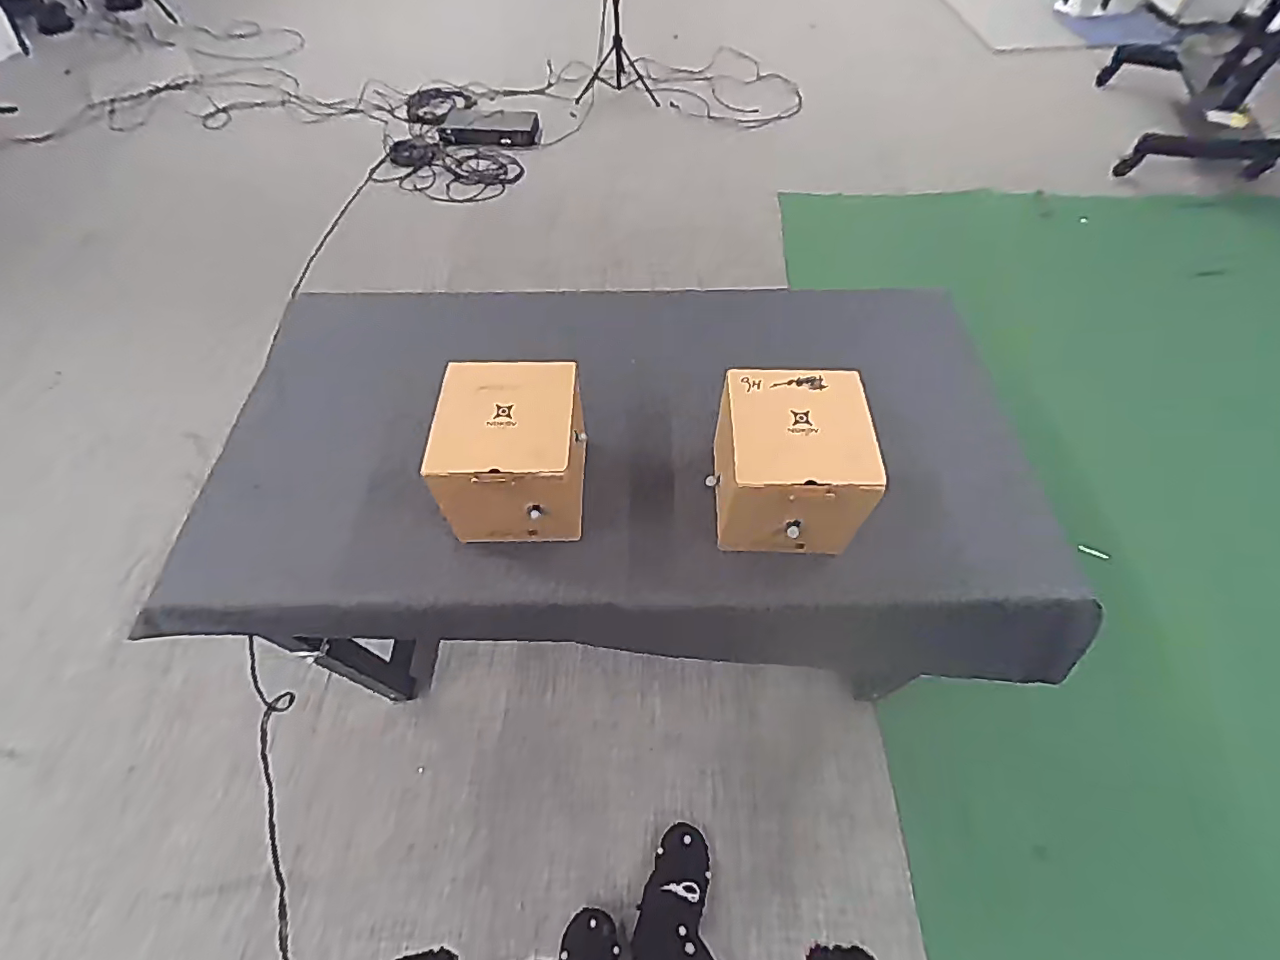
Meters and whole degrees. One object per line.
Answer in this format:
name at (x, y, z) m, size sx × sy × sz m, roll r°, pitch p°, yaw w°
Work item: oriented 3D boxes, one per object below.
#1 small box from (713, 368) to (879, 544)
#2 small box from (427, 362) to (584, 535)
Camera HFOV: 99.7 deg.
small box at (0.189, -0.026, 0.711) m, size 0.168 × 0.176 × 0.179 m, roll 1°, pitch 58°, yaw 1°
small box at (-0.163, -0.036, 0.722) m, size 0.168 × 0.176 × 0.179 m, roll -1°, pitch 55°, yaw -2°
